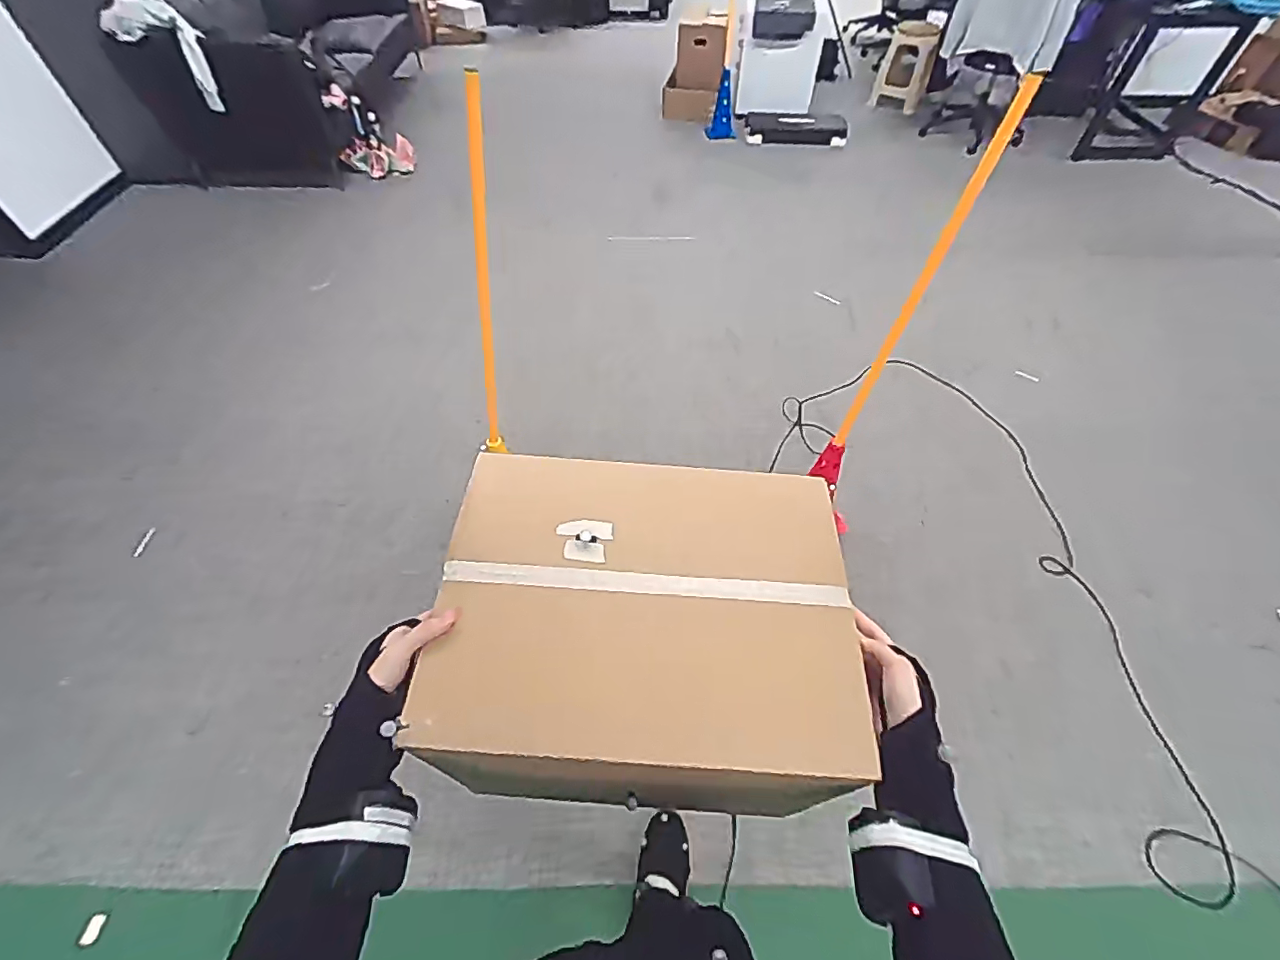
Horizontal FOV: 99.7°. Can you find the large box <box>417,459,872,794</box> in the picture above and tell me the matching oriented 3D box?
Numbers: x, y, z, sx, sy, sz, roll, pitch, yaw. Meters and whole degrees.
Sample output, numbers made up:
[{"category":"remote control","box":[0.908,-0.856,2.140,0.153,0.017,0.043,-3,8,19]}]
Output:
[{"category":"large box","box":[0.008,0.195,0.673,0.408,0.320,0.320,4,53,1]}]
